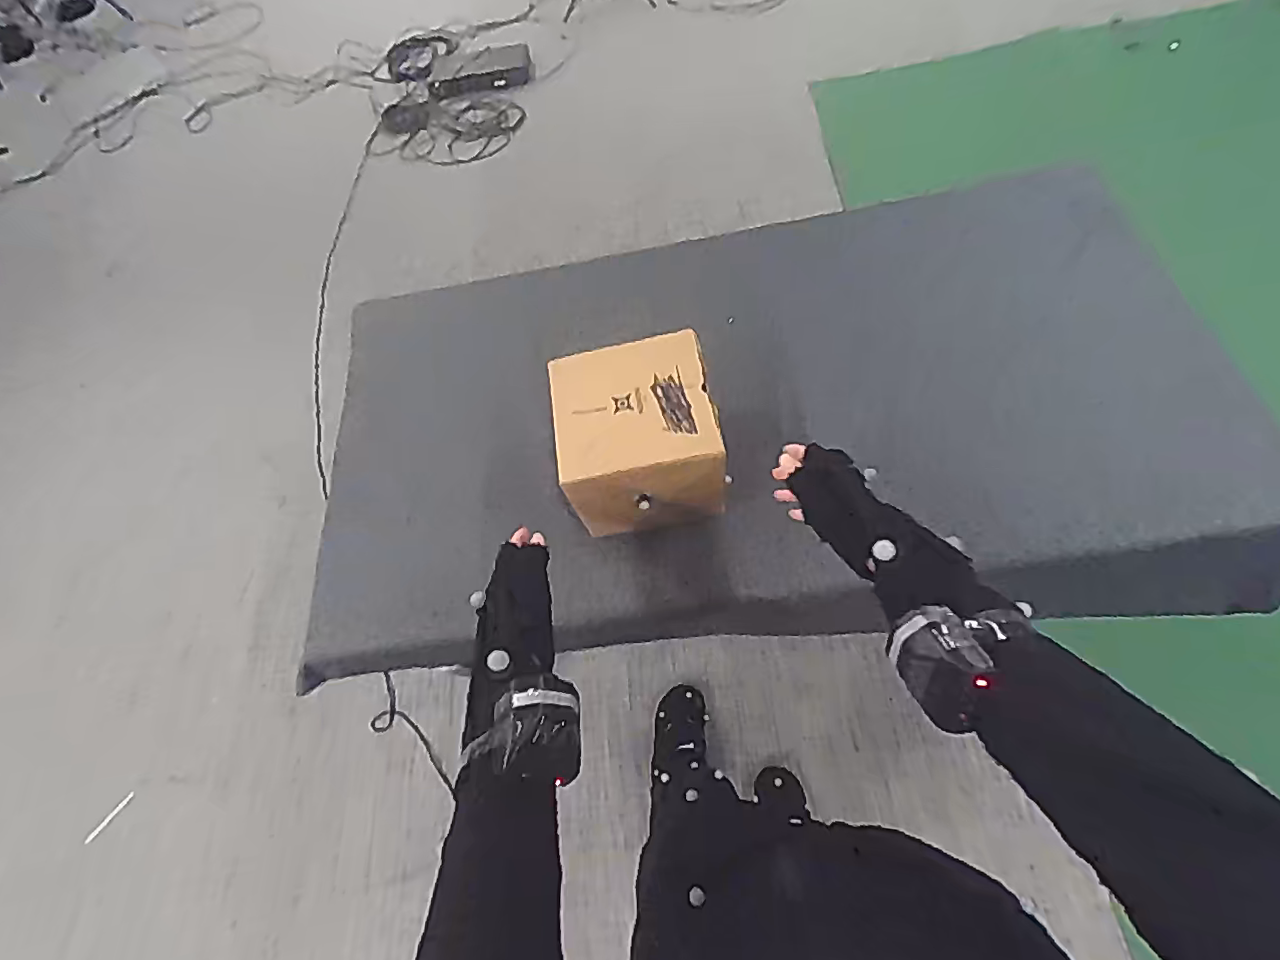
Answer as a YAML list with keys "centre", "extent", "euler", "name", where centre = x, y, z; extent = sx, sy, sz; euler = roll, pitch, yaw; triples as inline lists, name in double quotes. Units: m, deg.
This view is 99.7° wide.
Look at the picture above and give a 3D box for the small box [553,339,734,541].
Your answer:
- centre: [0.006, -0.040, 0.664]
  extent: [0.179, 0.176, 0.168]
  euler: [-13, 64, 1]
  name: "small box"
